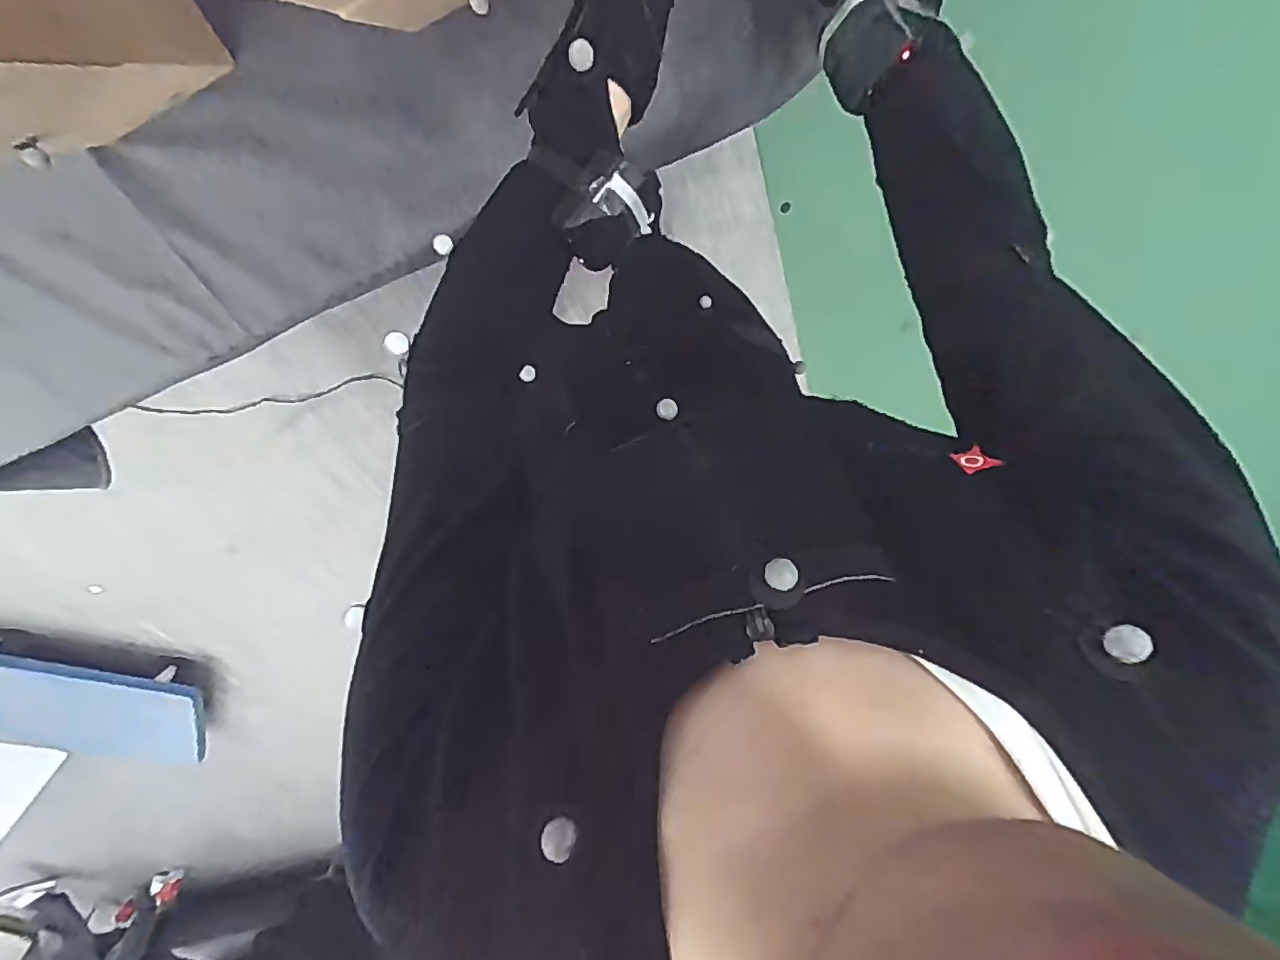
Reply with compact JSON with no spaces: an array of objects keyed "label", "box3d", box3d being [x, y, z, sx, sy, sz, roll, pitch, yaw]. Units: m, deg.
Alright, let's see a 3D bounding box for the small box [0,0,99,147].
[{"label":"small box","box3d":[-0.453,-0.271,0.276,0.179,0.176,0.168,-21,124,12]}]
